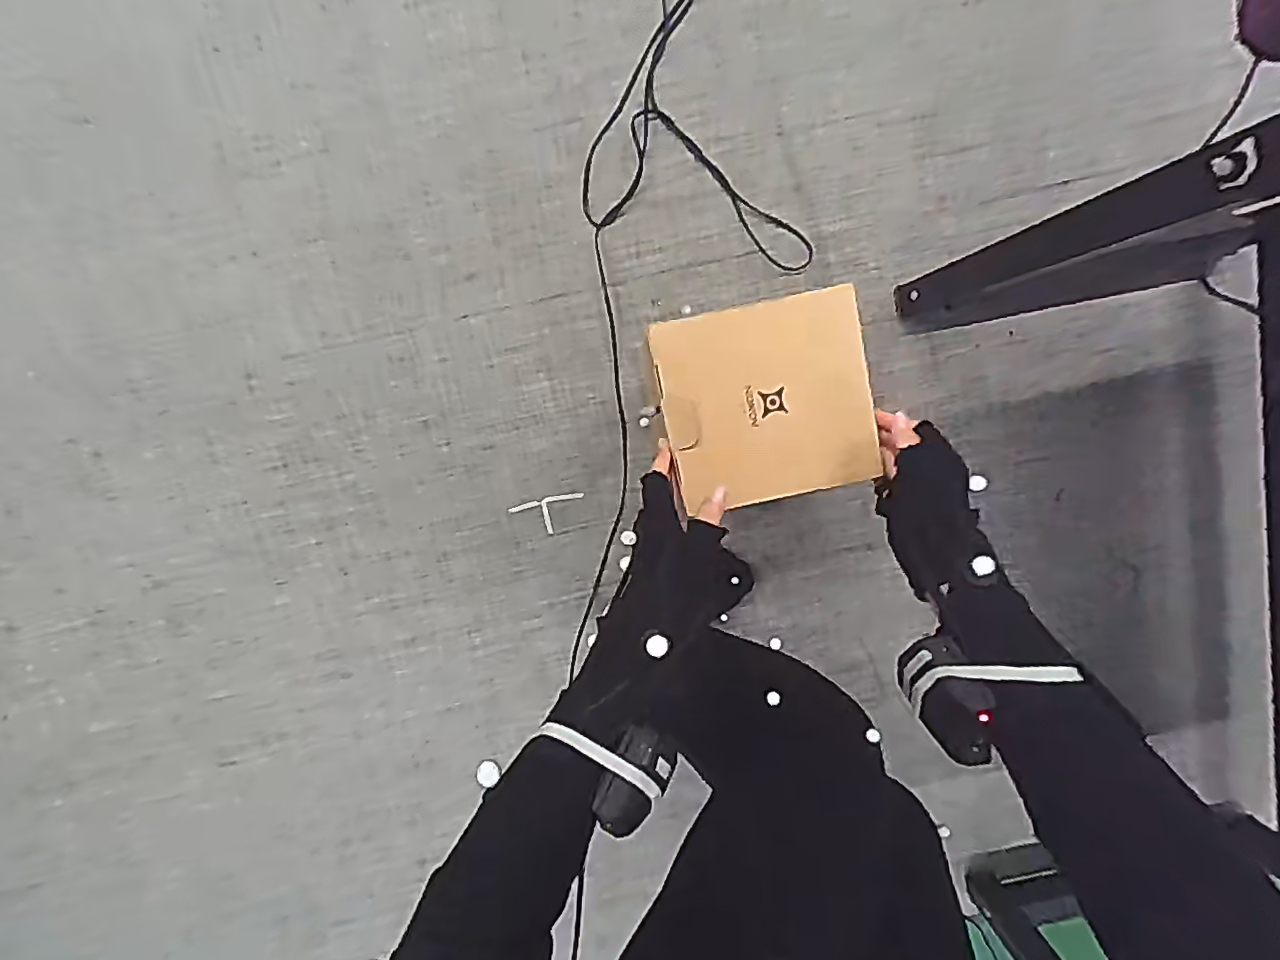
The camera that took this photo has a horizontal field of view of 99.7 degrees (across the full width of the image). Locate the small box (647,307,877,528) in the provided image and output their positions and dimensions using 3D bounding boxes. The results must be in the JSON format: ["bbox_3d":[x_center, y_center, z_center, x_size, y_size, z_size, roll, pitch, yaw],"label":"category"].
[{"bbox_3d":[0.107,-0.063,0.541,0.179,0.176,0.168,-11,97,2],"label":"small box"}]
